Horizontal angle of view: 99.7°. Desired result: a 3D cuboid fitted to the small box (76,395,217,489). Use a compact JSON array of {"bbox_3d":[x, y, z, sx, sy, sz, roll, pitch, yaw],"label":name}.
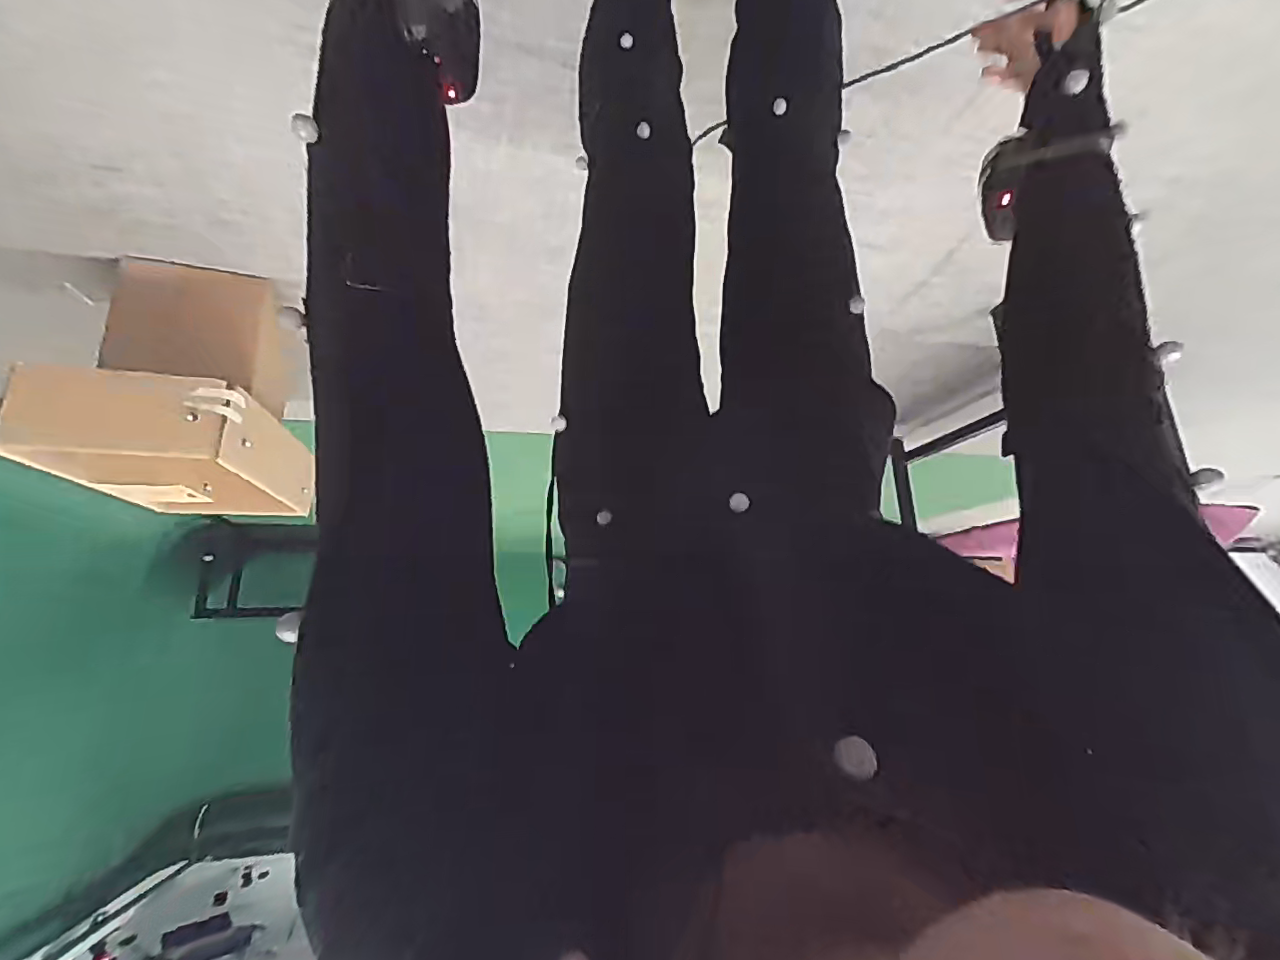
[{"bbox_3d":[-1.132,-0.087,1.259,0.179,0.176,0.168,4,164,-16],"label":"small box"}]
